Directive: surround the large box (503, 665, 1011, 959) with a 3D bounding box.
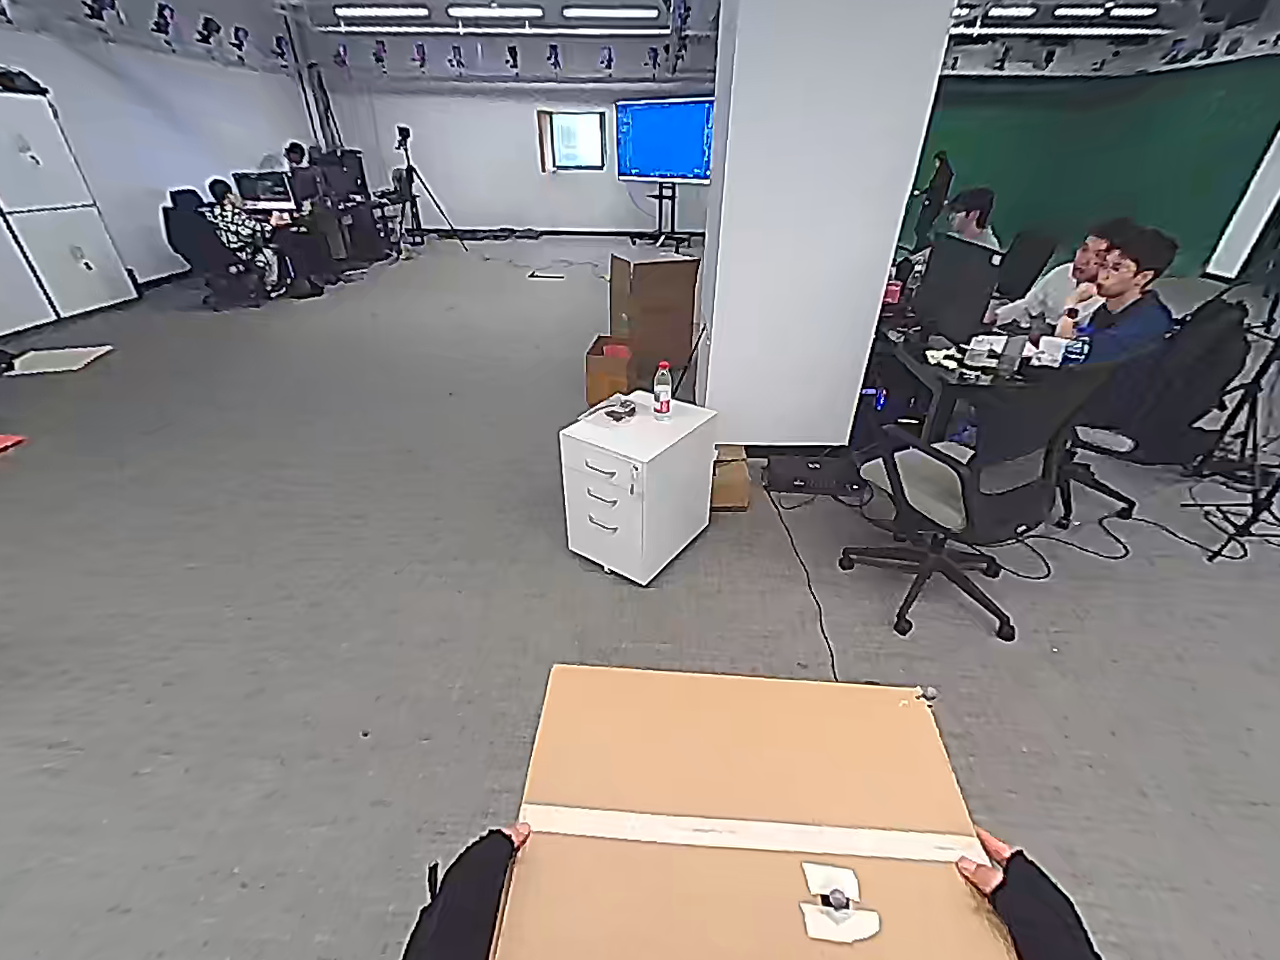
[{"bbox_3d":[0.094,0.432,0.584,0.408,0.320,0.320,3,39,3],"label":"large box"}]
